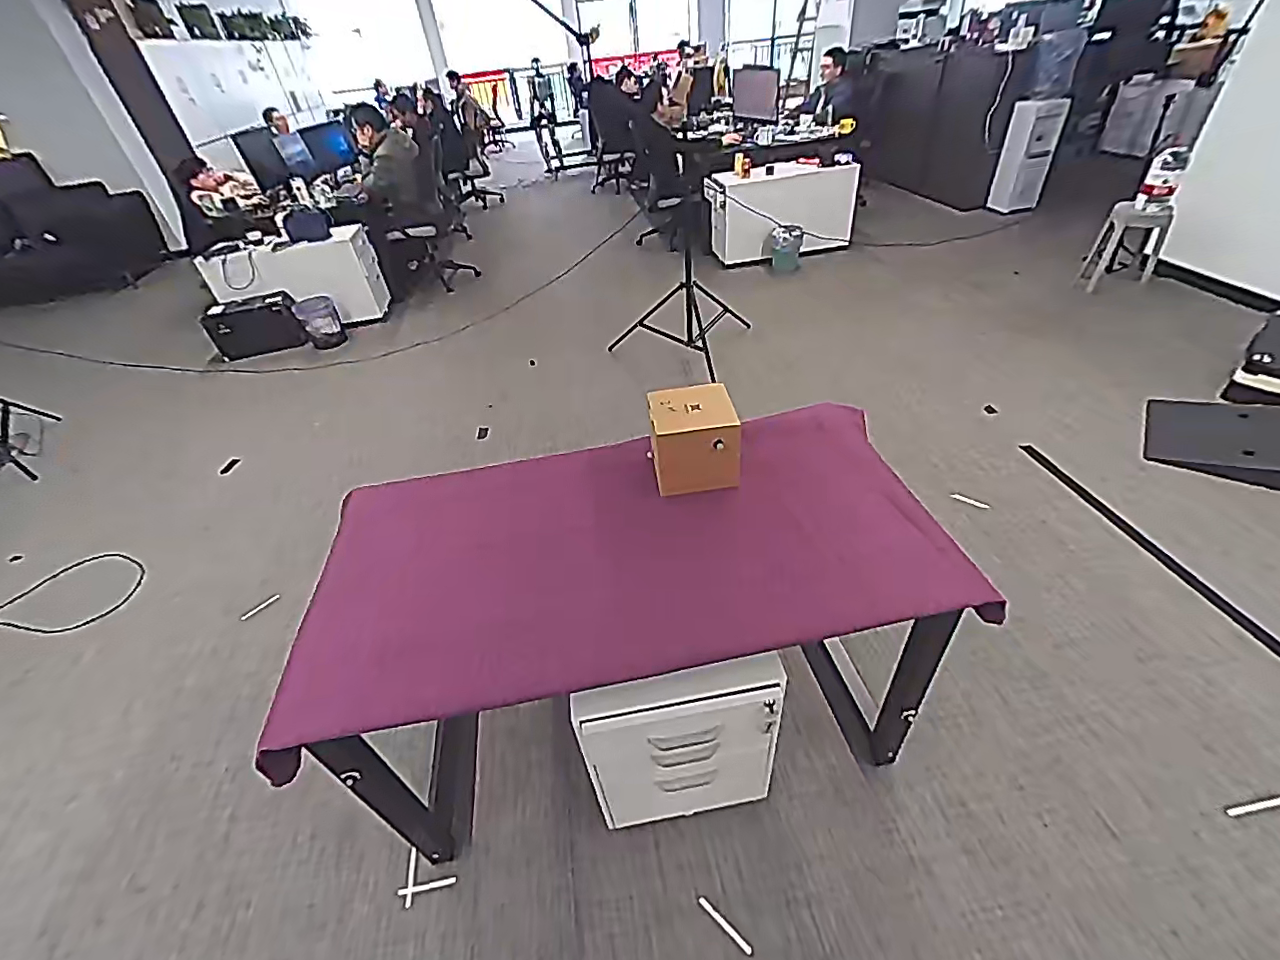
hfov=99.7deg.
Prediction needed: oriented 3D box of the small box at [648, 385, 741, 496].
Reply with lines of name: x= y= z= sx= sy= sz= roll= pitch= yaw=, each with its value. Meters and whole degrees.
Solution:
small box: x=0.116 y=-0.086 z=1.187 sx=0.179 sy=0.176 sz=0.168 roll=-8 pitch=40 yaw=-1
